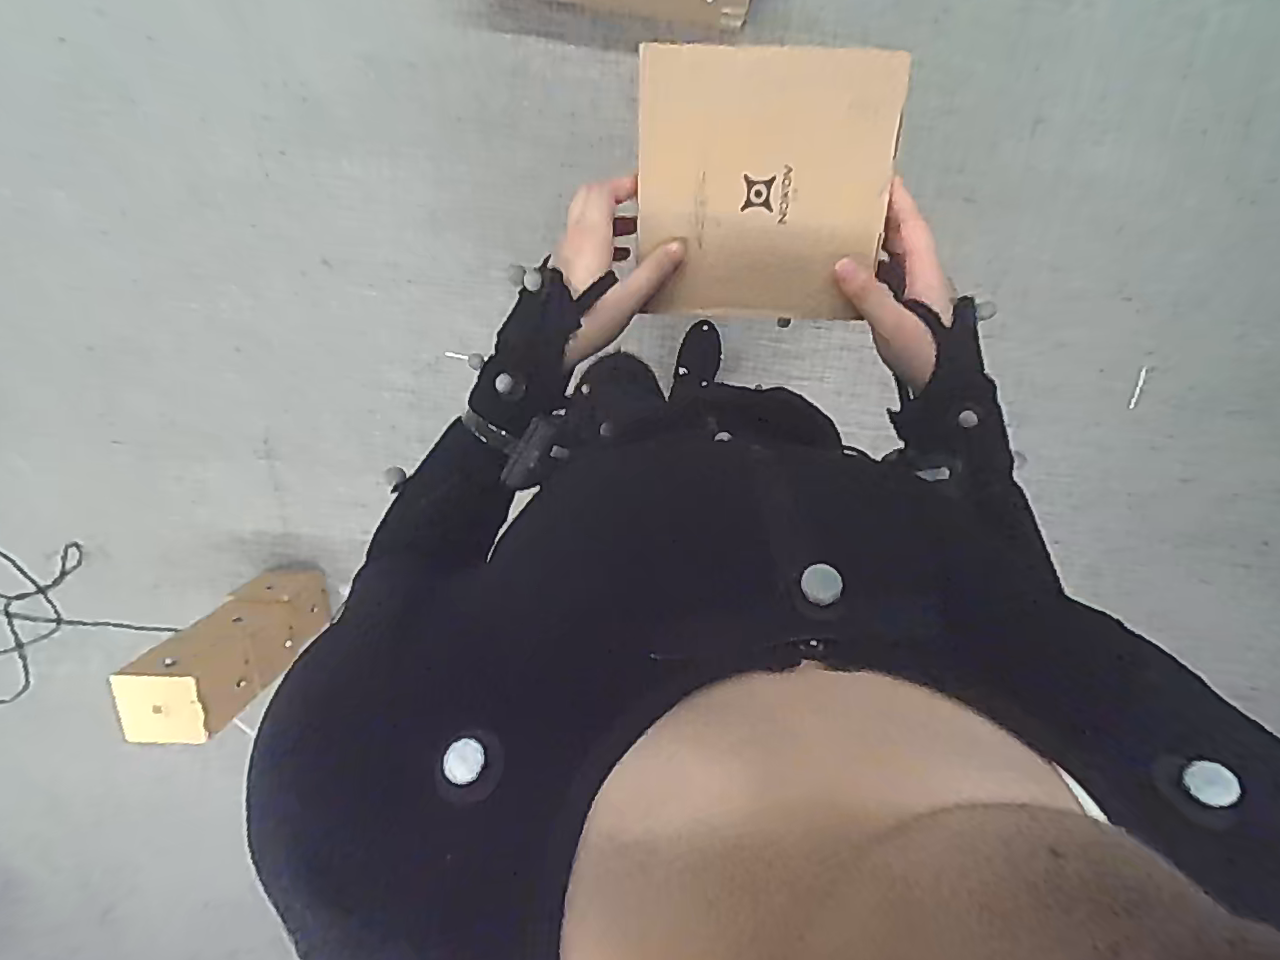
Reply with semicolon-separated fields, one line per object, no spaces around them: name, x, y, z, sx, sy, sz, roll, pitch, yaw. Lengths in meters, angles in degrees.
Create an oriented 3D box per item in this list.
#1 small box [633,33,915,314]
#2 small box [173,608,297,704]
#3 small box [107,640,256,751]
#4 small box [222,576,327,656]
small box;0.084;-0.229;0.438;0.179;0.176;0.168;1;112;1
small box;-1.002;0.433;1.352;0.179;0.176;0.168;2;105;-1
small box;-0.999;0.468;1.193;0.179;0.176;0.168;1;105;0
small box;-1.003;0.375;1.506;0.179;0.176;0.168;-1;104;2
